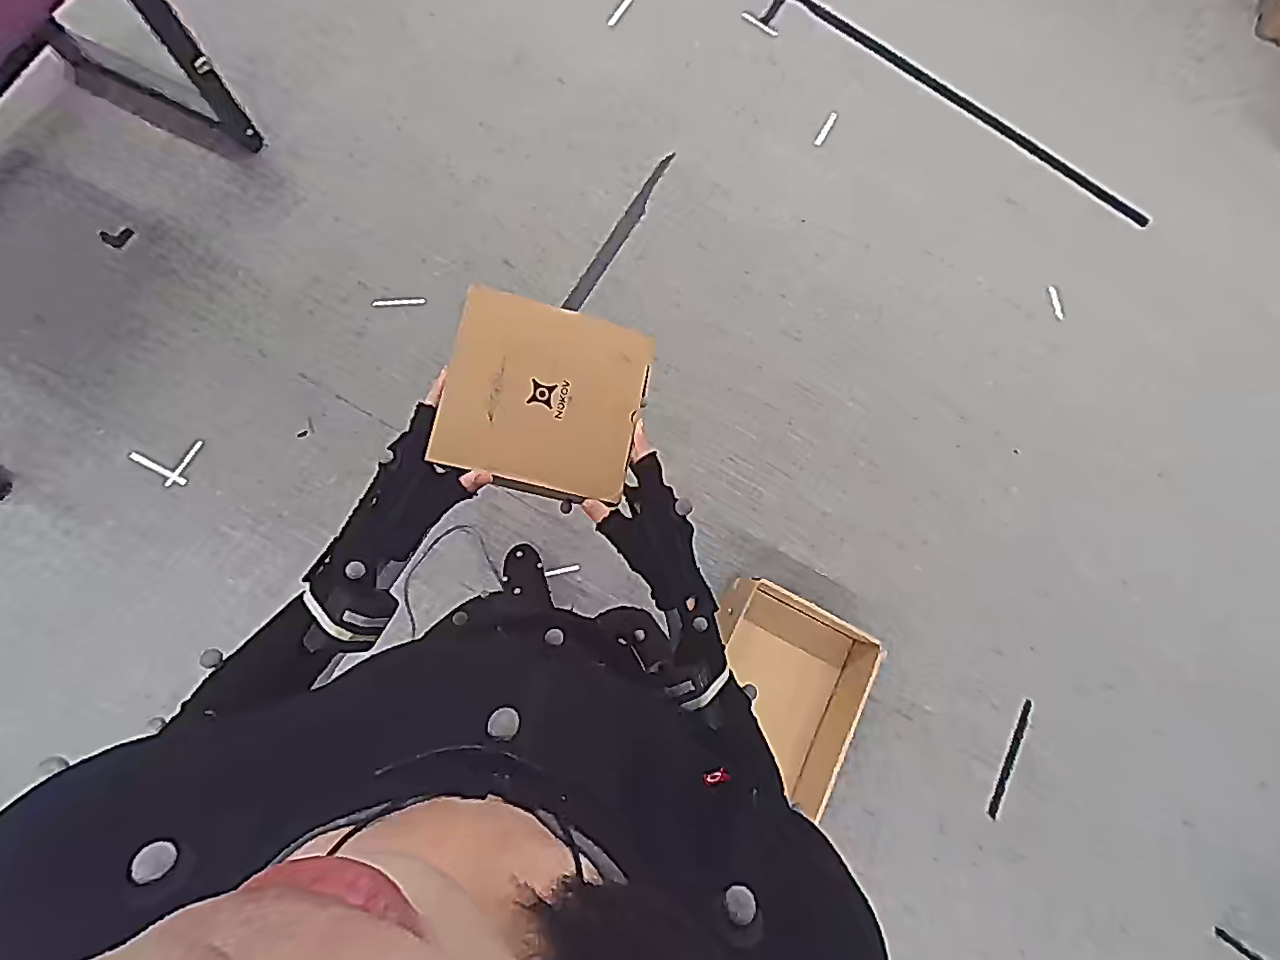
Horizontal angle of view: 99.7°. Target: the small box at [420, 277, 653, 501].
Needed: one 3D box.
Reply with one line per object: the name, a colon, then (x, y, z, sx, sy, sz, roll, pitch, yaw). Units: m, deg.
small box: (-0.100, -0.075, 0.555, 0.179, 0.176, 0.168, 12, 82, -9)
